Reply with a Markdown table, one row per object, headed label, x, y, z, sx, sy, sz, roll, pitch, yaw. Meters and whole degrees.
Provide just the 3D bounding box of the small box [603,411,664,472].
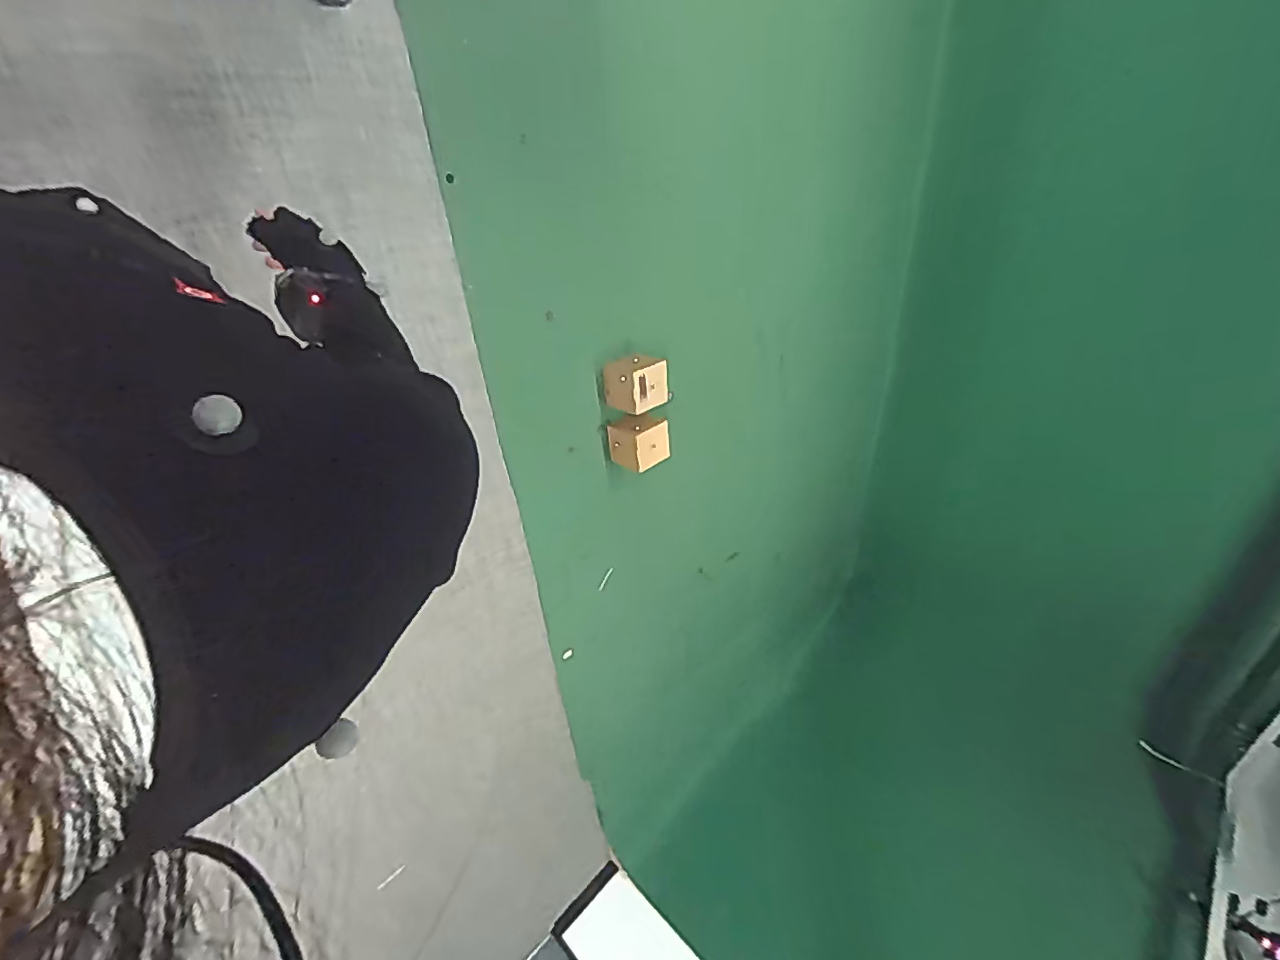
| label | x | y | z | sx | sy | sz | roll | pitch | yaw |
| --- | --- | --- | --- | --- | --- | --- | --- | --- | --- |
| small box | -0.024 | -0.161 | 2.170 | 0.179 | 0.176 | 0.168 | -31 | 130 | -34 |
